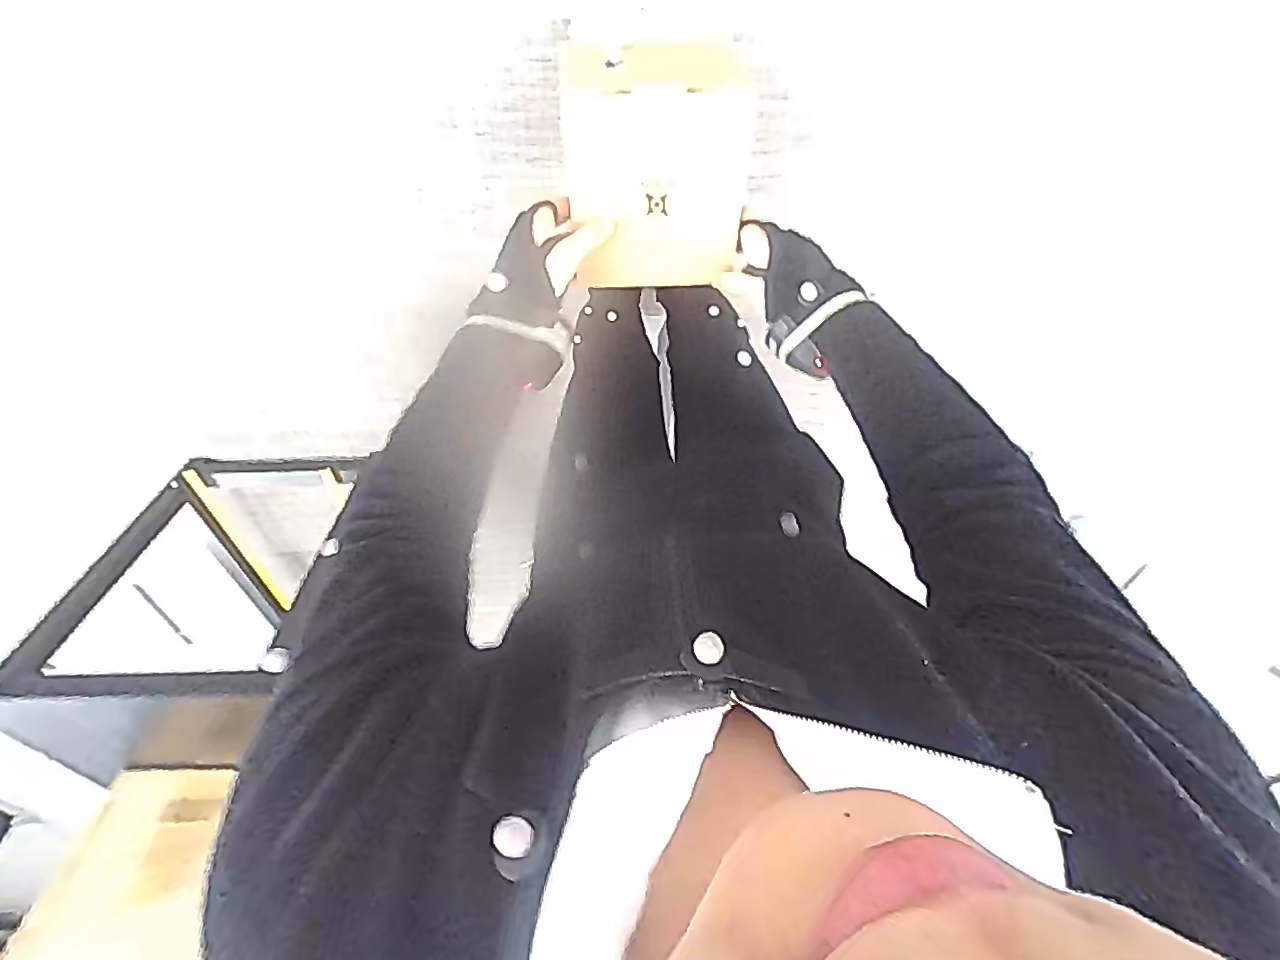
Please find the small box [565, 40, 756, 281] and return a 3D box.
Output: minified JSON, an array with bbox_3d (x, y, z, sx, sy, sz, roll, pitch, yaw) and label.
[{"bbox_3d":[0.014,-0.333,0.564,0.168,0.176,0.179,-2,142,0],"label":"small box"}]
